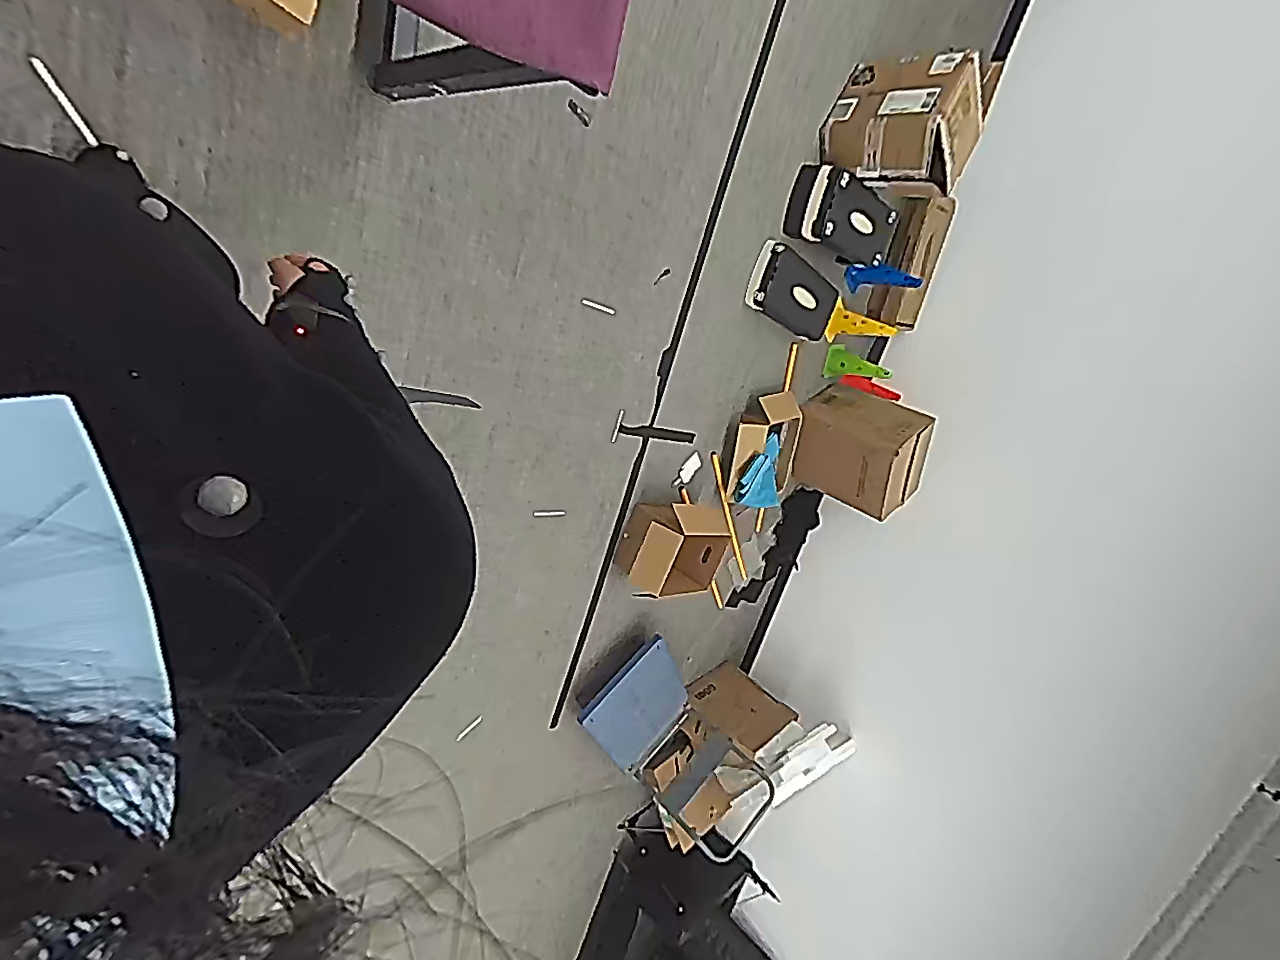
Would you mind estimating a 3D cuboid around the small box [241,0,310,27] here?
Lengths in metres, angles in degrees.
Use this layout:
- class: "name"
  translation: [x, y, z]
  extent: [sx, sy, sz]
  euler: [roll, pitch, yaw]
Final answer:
- class: "small box"
  translation: [-0.676, -0.950, 0.951]
  extent: [0.168, 0.176, 0.179]
  euler: [13, 103, -51]
